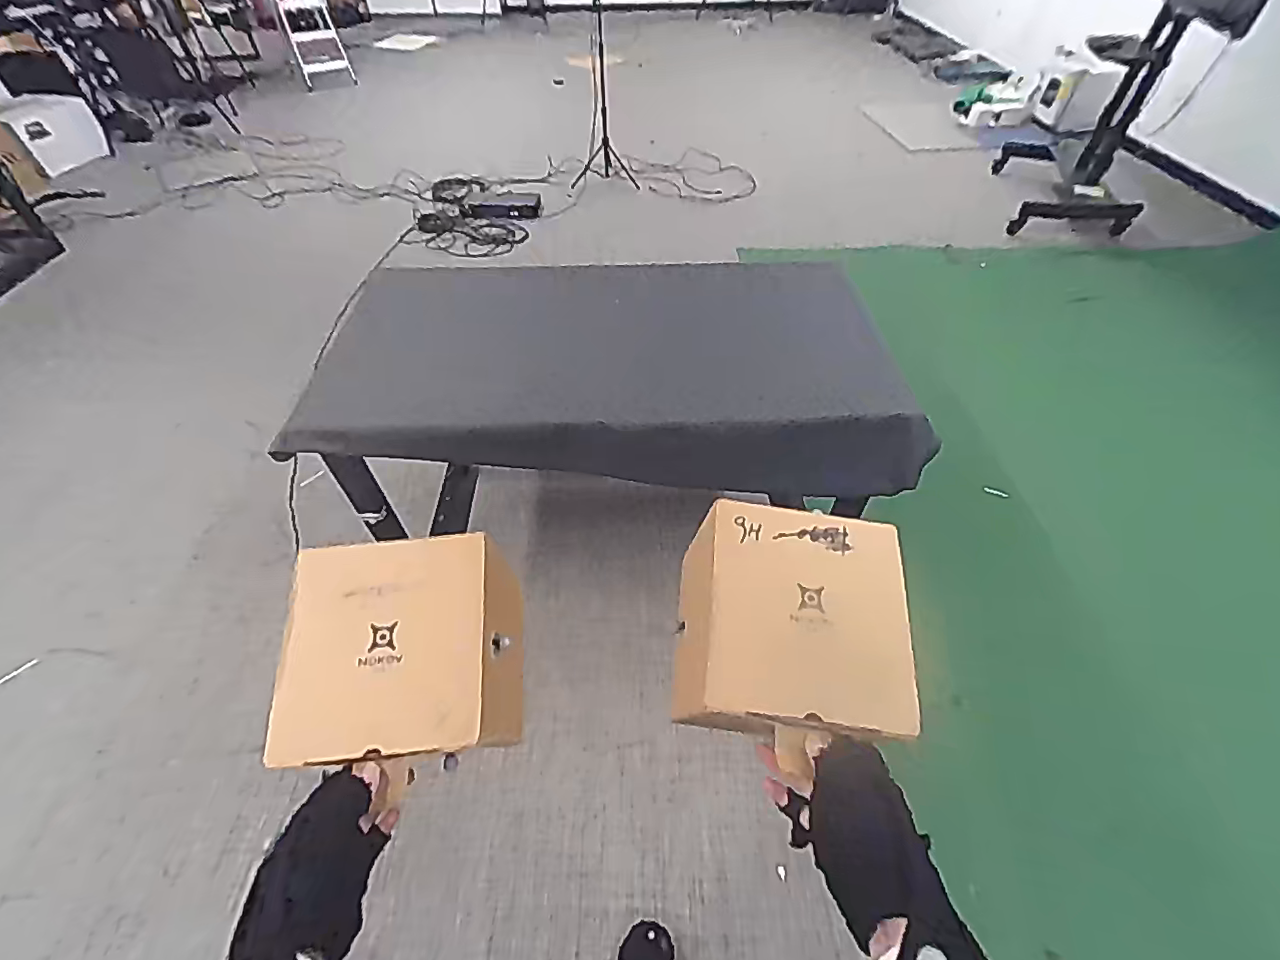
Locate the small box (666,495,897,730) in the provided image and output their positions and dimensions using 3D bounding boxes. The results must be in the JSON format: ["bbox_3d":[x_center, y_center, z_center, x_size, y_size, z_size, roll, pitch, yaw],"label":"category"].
[{"bbox_3d":[0.122,0.136,0.522,0.168,0.176,0.179,9,64,-3],"label":"small box"}]

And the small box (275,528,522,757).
[{"bbox_3d":[-0.213,0.163,0.532,0.168,0.176,0.179,-6,65,-3],"label":"small box"}]
